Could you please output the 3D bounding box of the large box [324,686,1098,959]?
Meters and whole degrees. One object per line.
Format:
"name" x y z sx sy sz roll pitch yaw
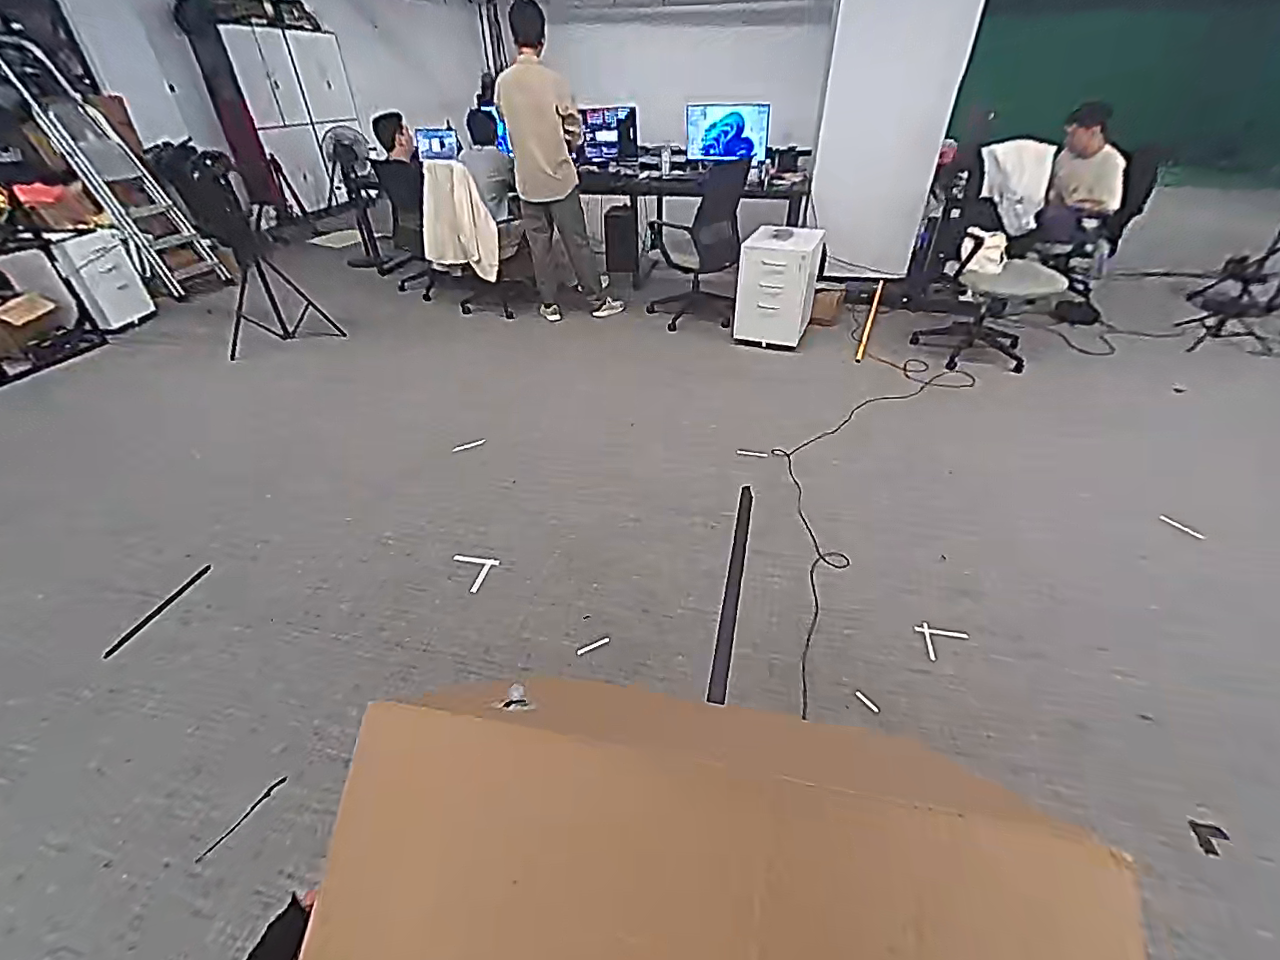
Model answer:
"large box" 0.031 0.350 0.406 0.408 0.320 0.320 6 75 11
